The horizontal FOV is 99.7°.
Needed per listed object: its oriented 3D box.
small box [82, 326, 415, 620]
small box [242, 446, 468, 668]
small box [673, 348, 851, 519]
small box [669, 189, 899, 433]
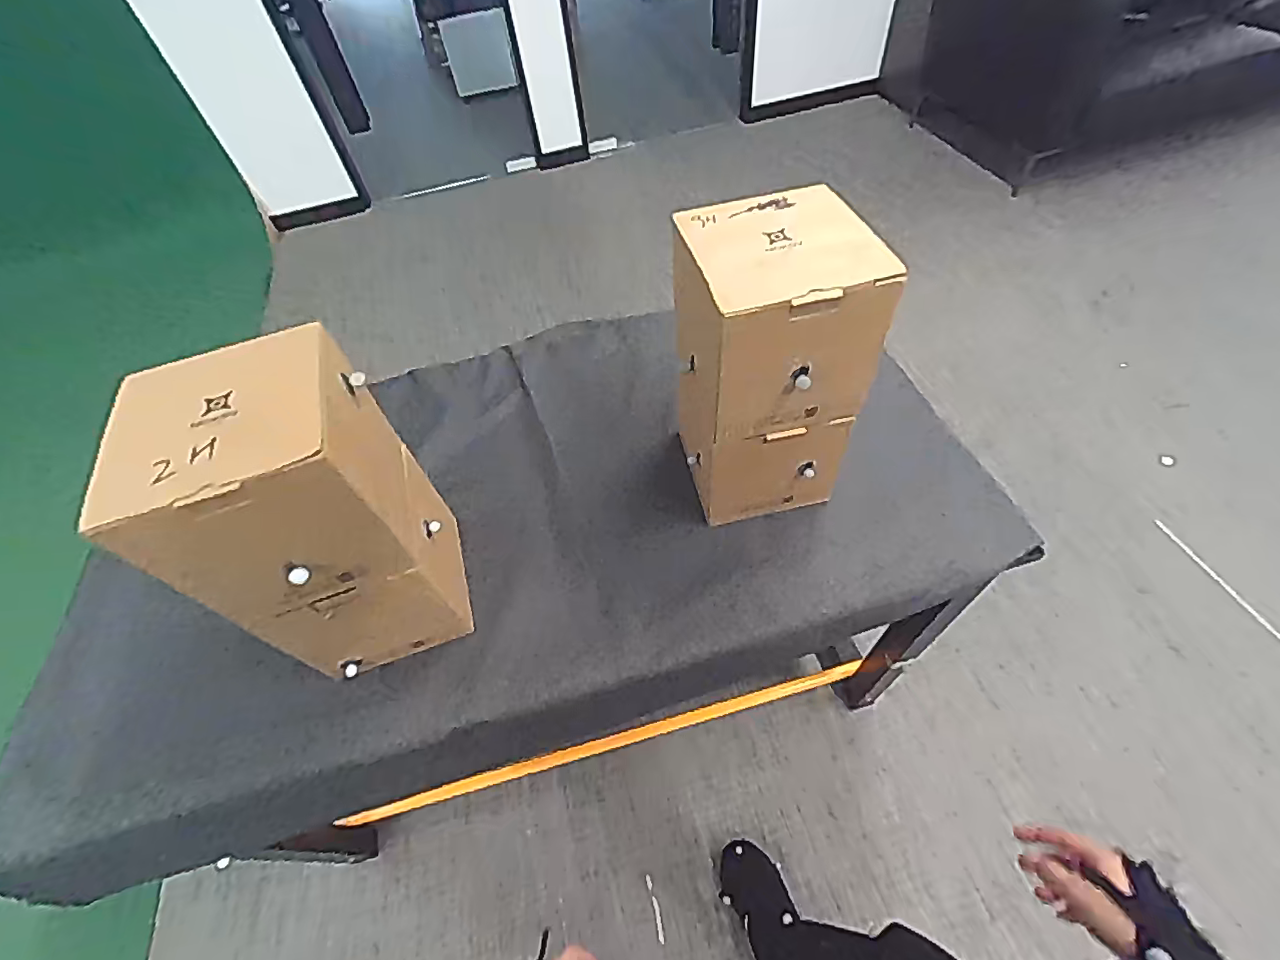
[{"bbox_3d":[-0.325,-0.004,0.491,0.168,0.176,0.179,-20,54,-8],"label":"small box"},{"bbox_3d":[-0.310,0.096,0.621,0.168,0.176,0.179,-18,53,-8],"label":"small box"},{"bbox_3d":[0.143,-0.066,0.694,0.168,0.176,0.179,-12,53,-3],"label":"small box"},{"bbox_3d":[0.132,-0.166,0.564,0.168,0.176,0.179,-12,54,-3],"label":"small box"}]
